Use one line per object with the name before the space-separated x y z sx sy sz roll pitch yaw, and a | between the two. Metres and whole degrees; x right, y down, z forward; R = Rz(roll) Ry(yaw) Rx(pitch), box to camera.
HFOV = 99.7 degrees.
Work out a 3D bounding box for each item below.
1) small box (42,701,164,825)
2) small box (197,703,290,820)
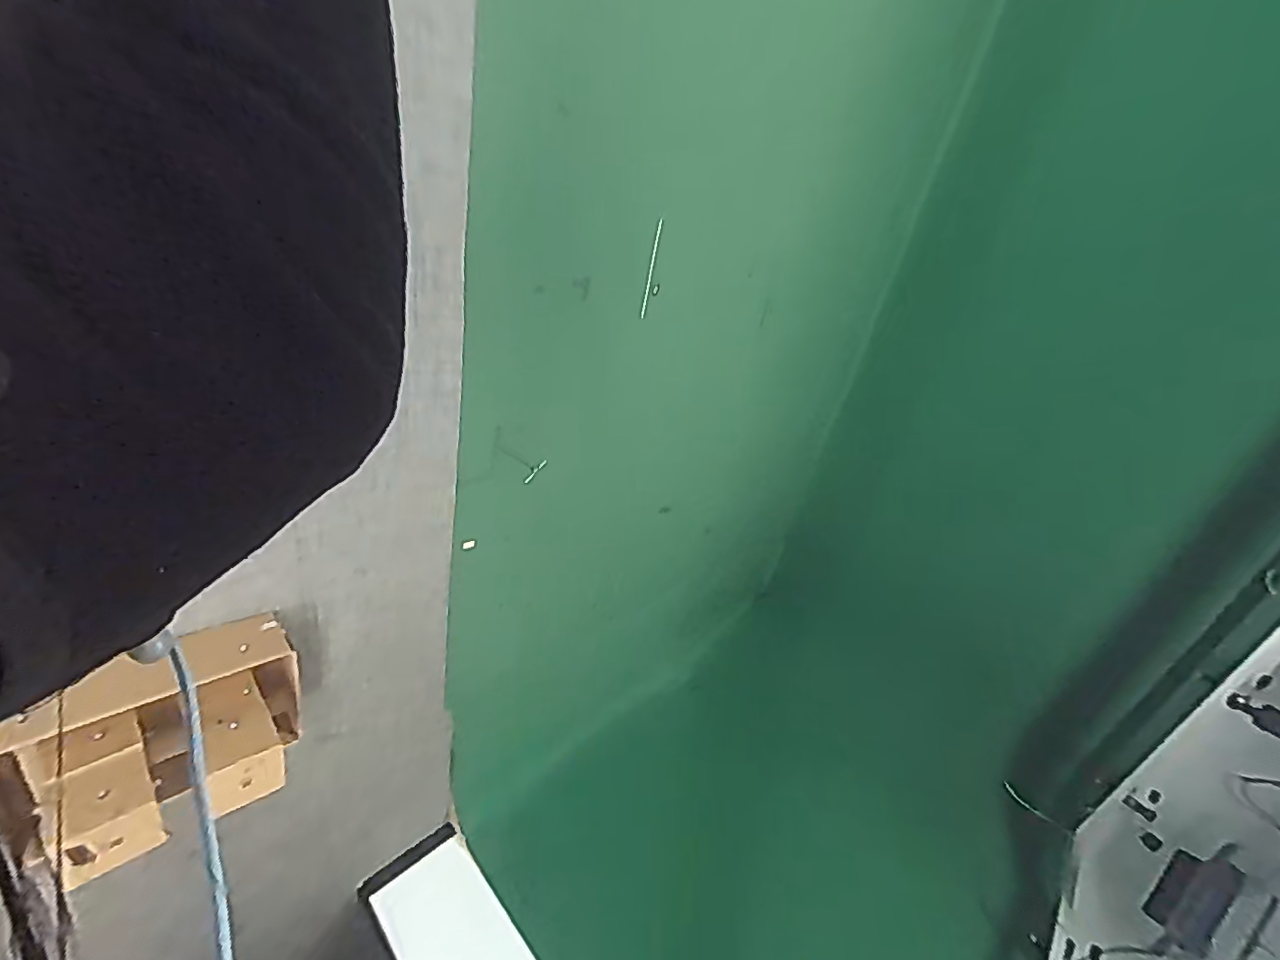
small box | -1.327 0.689 1.340 0.179 0.176 0.168 -19 129 -45
small box | -1.045 0.733 1.427 0.168 0.176 0.179 -13 125 -46
